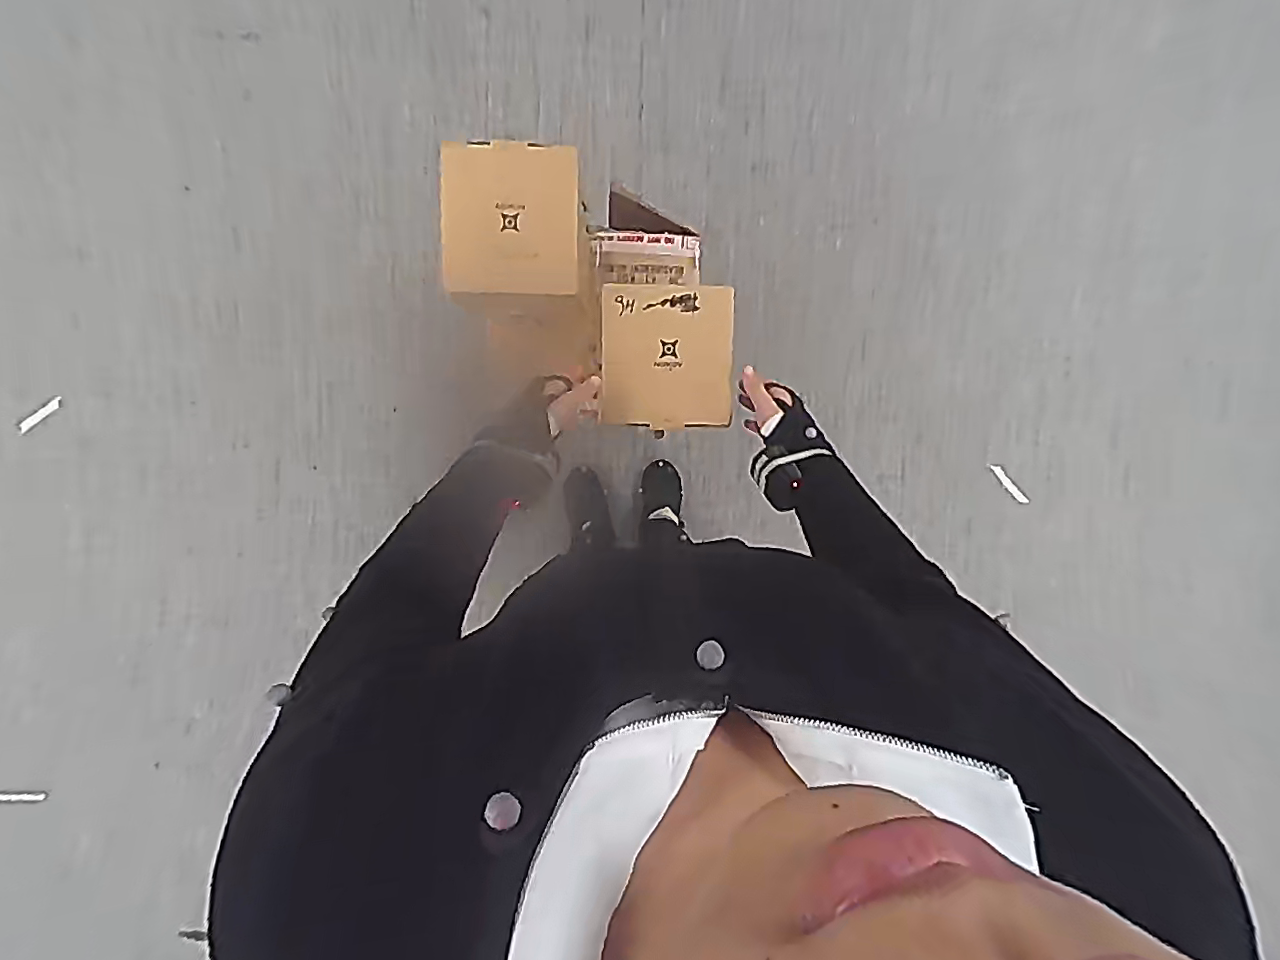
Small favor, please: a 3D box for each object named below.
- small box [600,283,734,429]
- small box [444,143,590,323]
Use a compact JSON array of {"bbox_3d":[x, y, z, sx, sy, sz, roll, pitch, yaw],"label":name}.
[{"bbox_3d":[0.030,-0.162,0.750,0.168,0.176,0.179,0,96,-3],"label":"small box"},{"bbox_3d":[-0.155,-0.319,0.727,0.168,0.176,0.179,0,96,-2],"label":"small box"}]
